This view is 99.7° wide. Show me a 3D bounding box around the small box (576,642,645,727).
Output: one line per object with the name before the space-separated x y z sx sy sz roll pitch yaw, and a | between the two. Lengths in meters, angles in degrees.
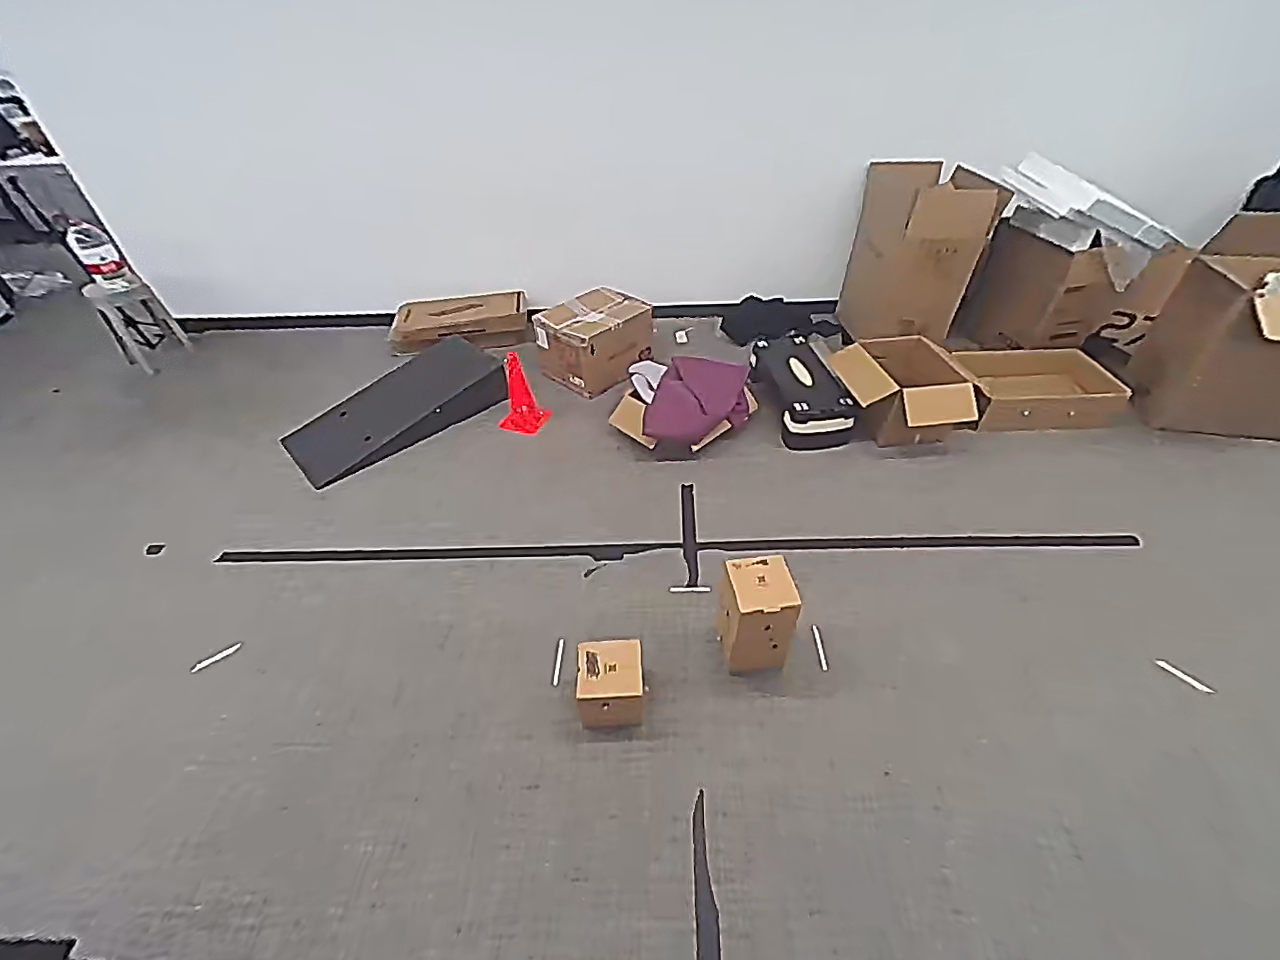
small box | -0.078 0.571 1.504 0.179 0.176 0.168 -3 42 -1

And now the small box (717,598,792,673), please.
small box | 0.335 0.458 1.613 0.179 0.176 0.168 -5 41 -3

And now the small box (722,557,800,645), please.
small box | 0.328 0.341 1.498 0.168 0.176 0.179 -6 42 -4
